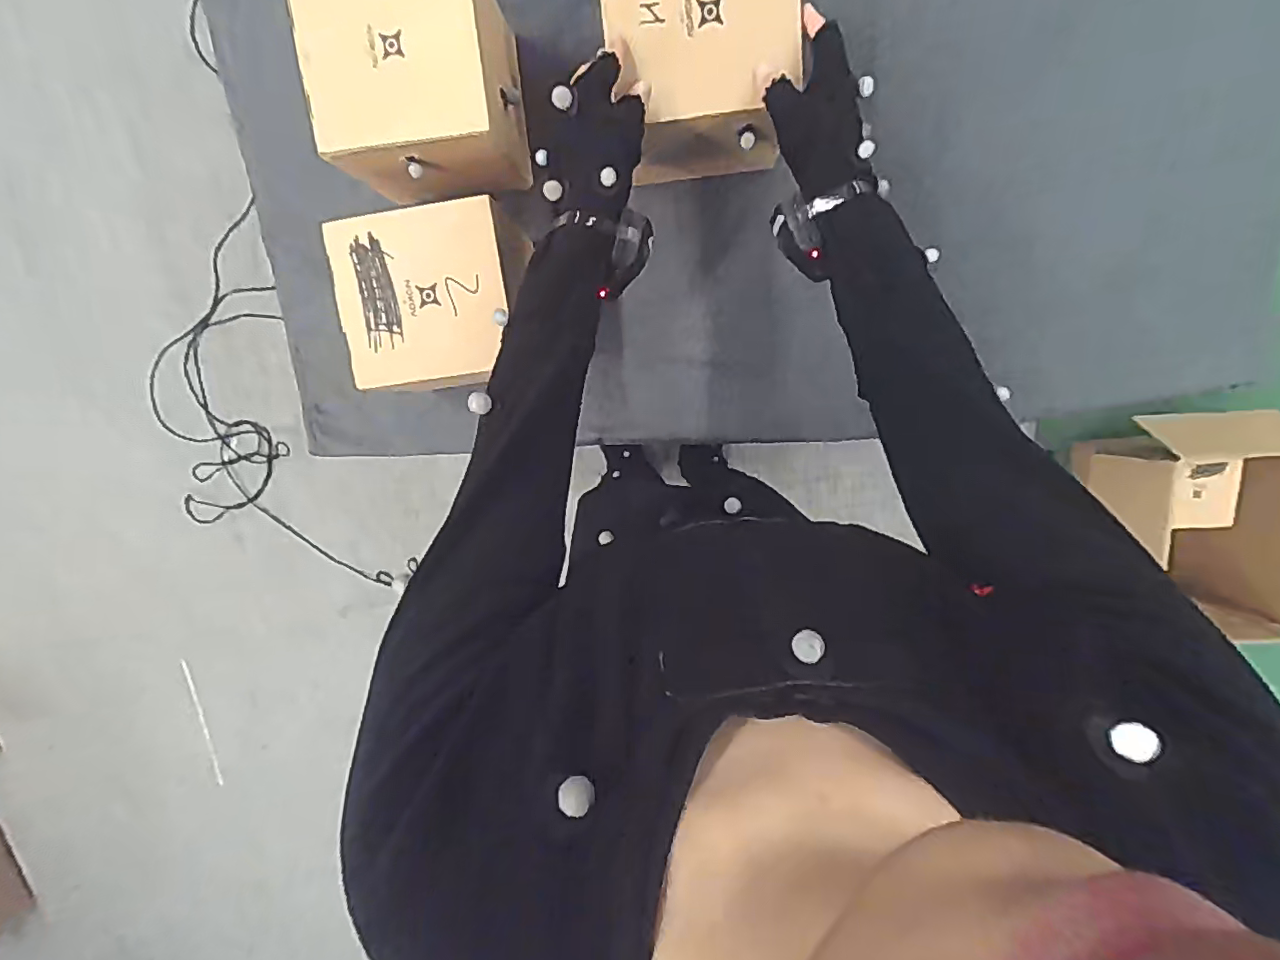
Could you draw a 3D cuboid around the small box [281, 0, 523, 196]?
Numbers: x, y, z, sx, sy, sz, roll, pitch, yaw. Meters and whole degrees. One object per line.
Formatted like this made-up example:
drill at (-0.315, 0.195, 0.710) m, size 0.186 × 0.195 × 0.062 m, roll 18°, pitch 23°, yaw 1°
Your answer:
small box at (-0.231, -0.419, 0.572) m, size 0.179 × 0.176 × 0.168 m, roll -4°, pitch 102°, yaw 6°
